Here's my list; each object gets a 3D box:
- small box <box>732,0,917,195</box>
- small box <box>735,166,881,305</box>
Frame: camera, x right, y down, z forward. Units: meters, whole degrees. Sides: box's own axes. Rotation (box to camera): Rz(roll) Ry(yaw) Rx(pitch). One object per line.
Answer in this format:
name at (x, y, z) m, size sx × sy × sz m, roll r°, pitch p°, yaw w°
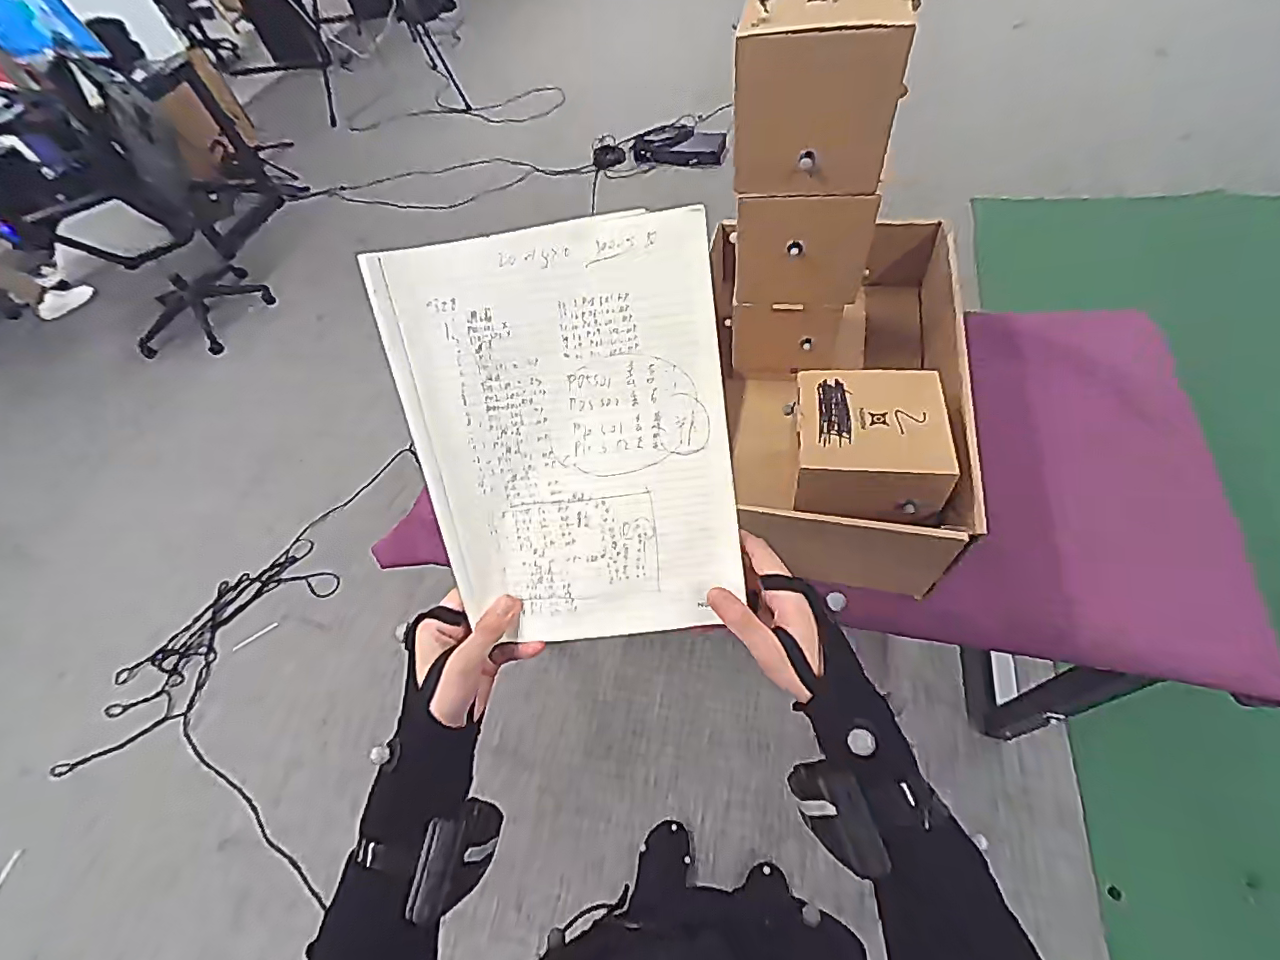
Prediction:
small box at (0.210, -0.464, 0.645) m, size 0.179 × 0.176 × 0.168 m, roll 8°, pitch 58°, yaw 12°
small box at (0.233, -0.371, 0.778) m, size 0.179 × 0.176 × 0.168 m, roll 5°, pitch 58°, yaw 12°
